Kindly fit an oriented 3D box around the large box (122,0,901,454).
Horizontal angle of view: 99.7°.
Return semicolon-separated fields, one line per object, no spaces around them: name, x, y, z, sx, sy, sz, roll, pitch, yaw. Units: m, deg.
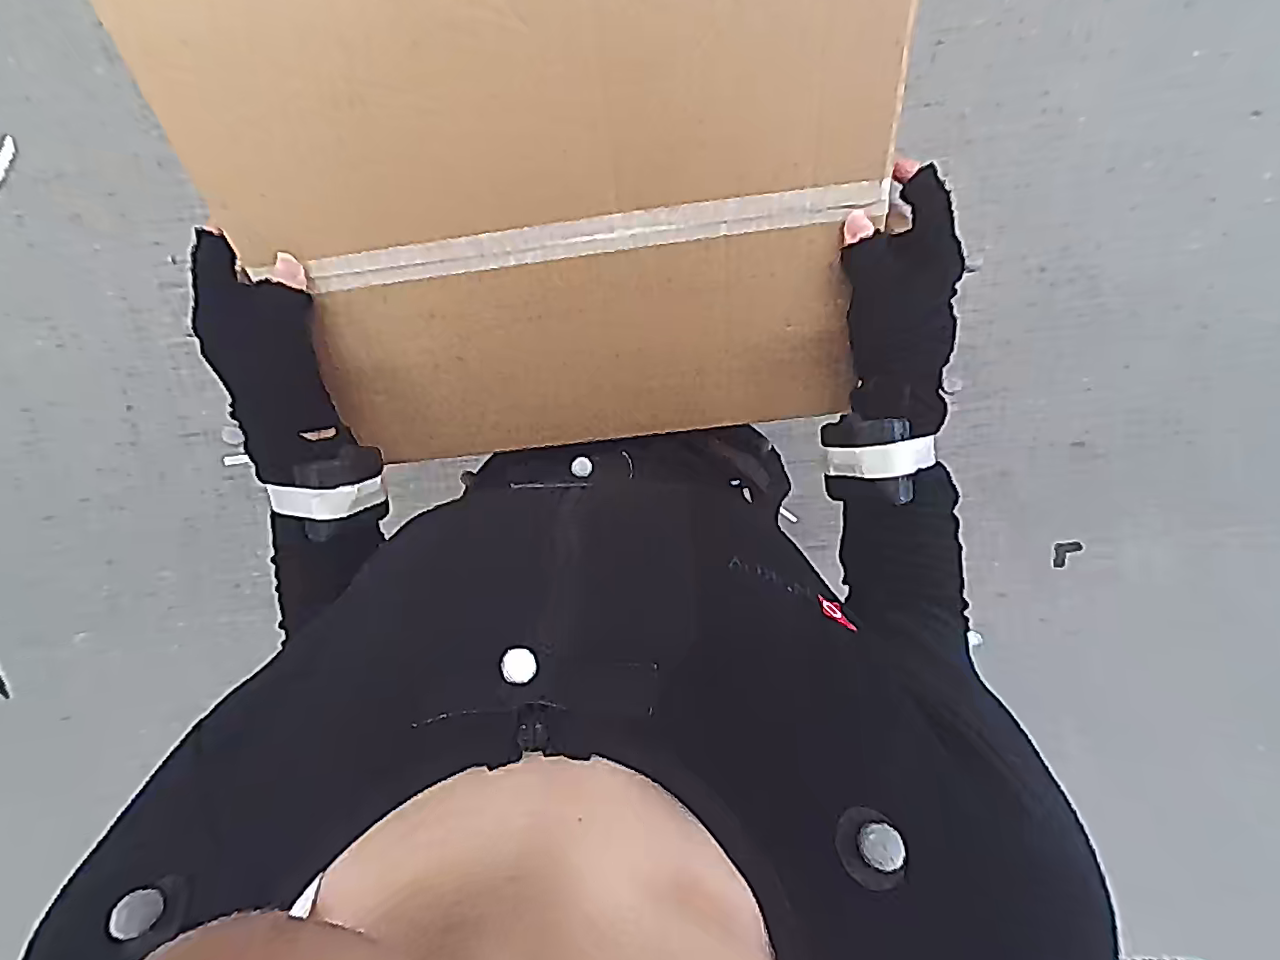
large box;-0.055;-0.255;0.465;0.408;0.320;0.320;-6;131;3
